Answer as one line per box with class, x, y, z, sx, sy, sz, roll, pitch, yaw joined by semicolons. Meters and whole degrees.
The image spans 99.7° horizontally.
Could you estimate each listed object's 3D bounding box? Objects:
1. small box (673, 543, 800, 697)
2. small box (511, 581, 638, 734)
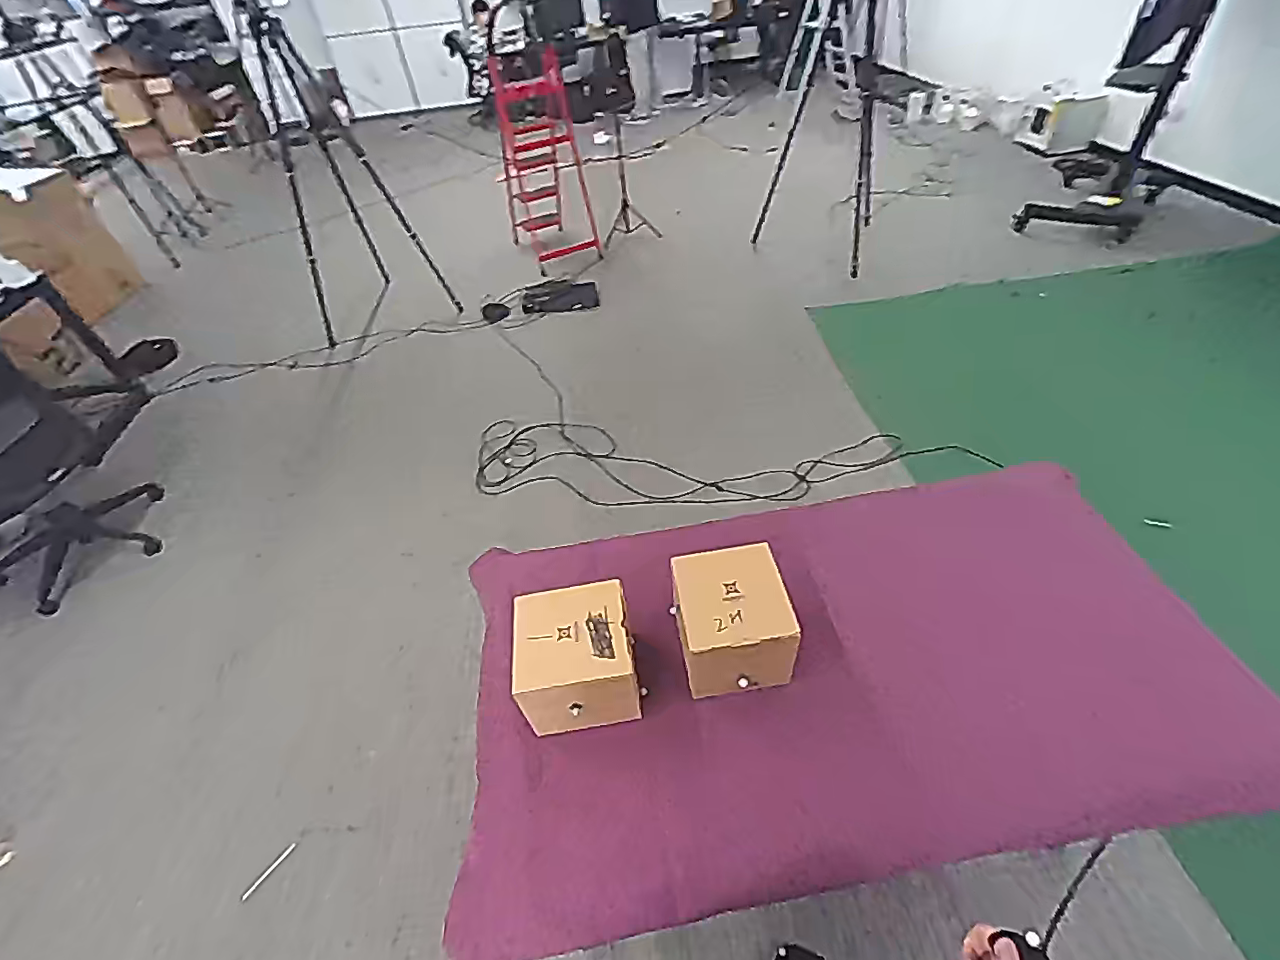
small box;0.149;0.233;0.898;0.168;0.176;0.179;-9;46;-1
small box;-0.100;0.289;0.873;0.179;0.176;0.168;-10;46;-2
